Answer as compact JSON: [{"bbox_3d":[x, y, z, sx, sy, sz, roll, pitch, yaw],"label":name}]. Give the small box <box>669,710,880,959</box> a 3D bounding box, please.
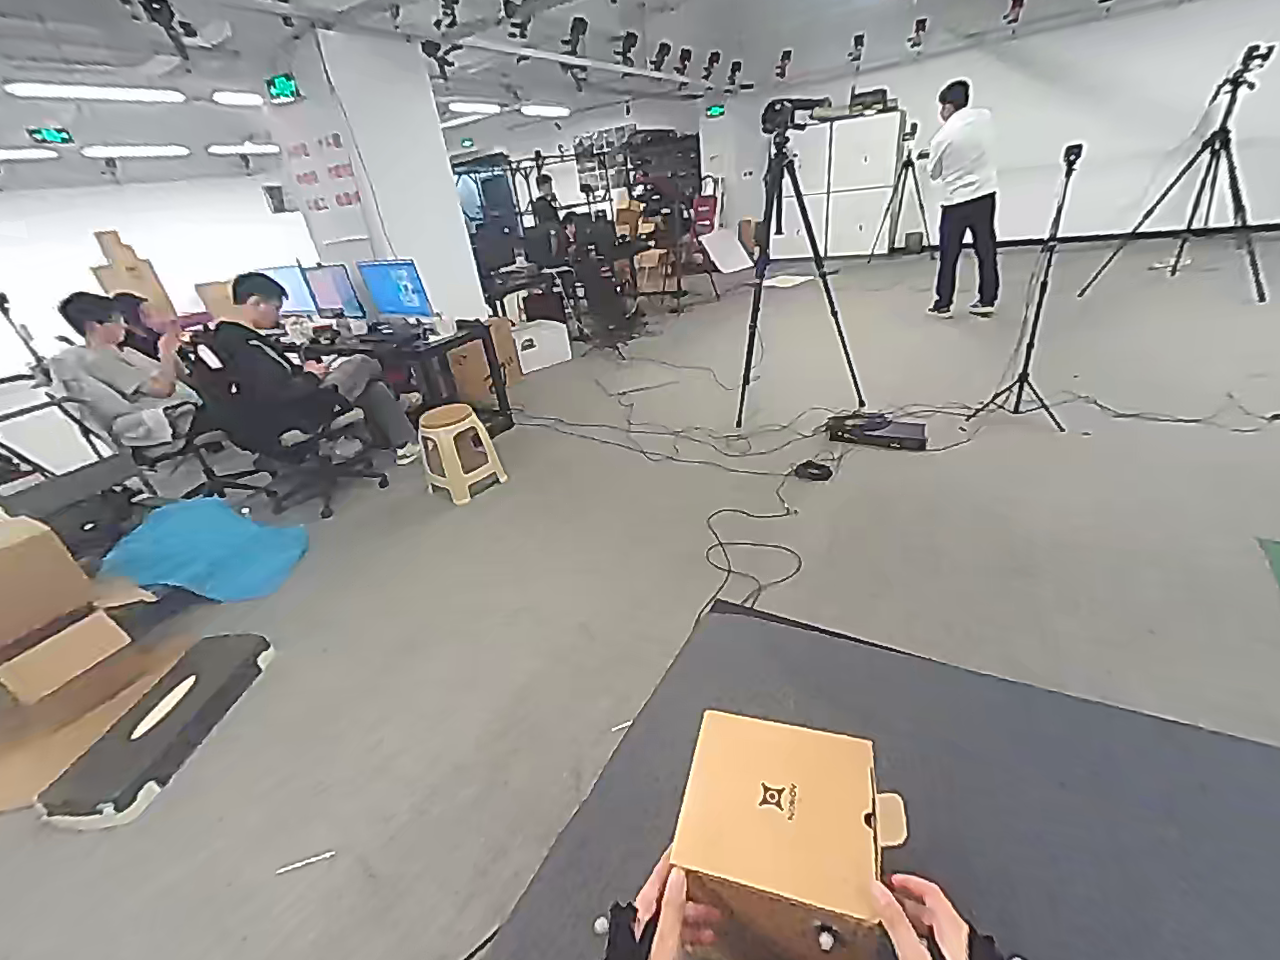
[{"bbox_3d":[0.139,0.370,0.548,0.179,0.176,0.168,4,29,18],"label":"small box"}]
